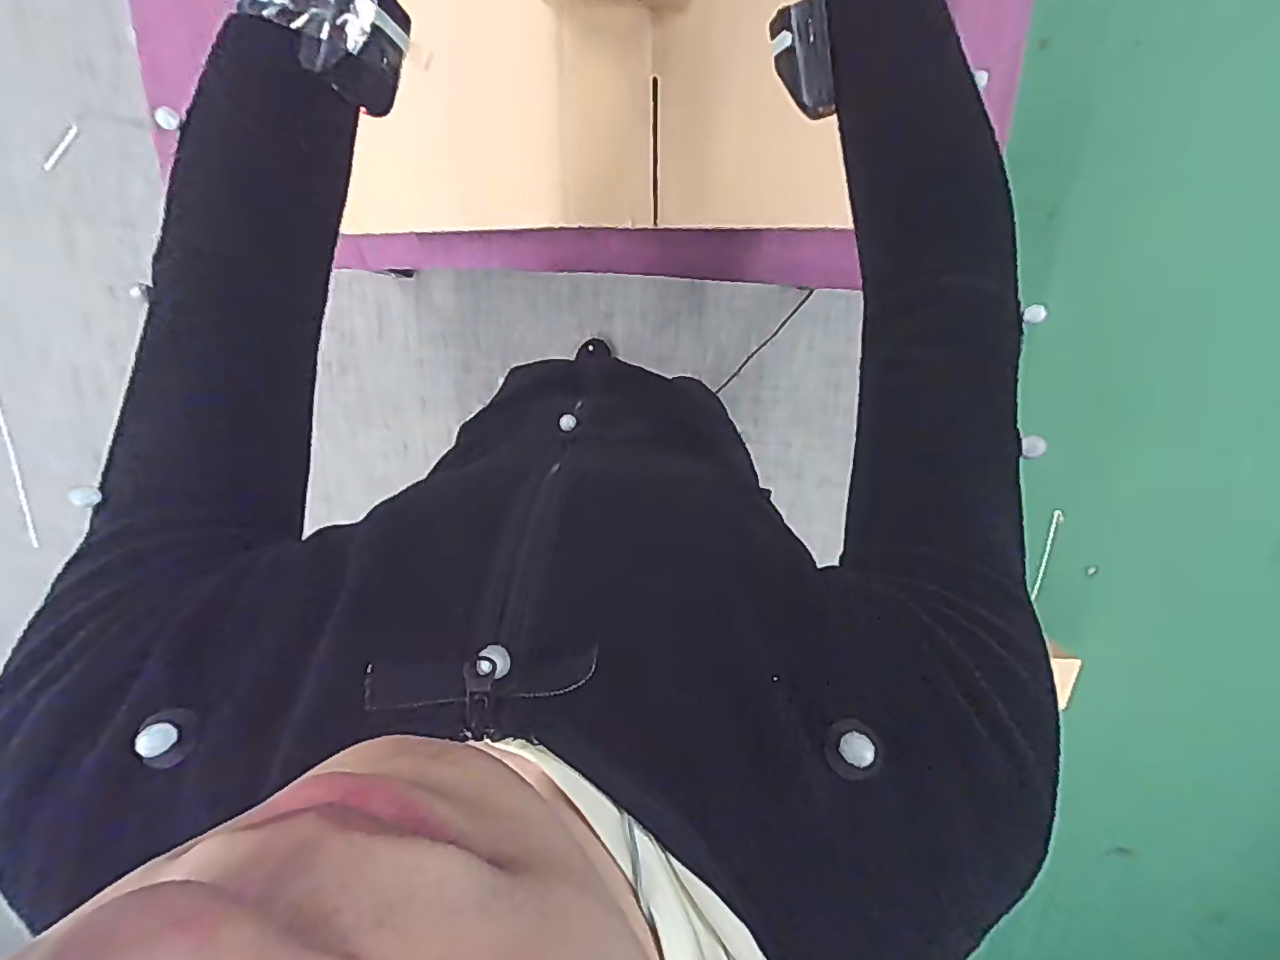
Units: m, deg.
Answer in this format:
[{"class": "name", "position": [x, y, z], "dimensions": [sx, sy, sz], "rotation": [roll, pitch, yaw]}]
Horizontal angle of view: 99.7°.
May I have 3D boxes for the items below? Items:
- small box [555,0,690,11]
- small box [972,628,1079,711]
[{"class": "small box", "position": [-0.017, -0.569, 0.477], "dimensions": [0.168, 0.176, 0.179], "rotation": [0, 105, -4]}, {"class": "small box", "position": [1.120, 0.550, 1.587], "dimensions": [0.179, 0.176, 0.168], "rotation": [5, 105, -4]}]
